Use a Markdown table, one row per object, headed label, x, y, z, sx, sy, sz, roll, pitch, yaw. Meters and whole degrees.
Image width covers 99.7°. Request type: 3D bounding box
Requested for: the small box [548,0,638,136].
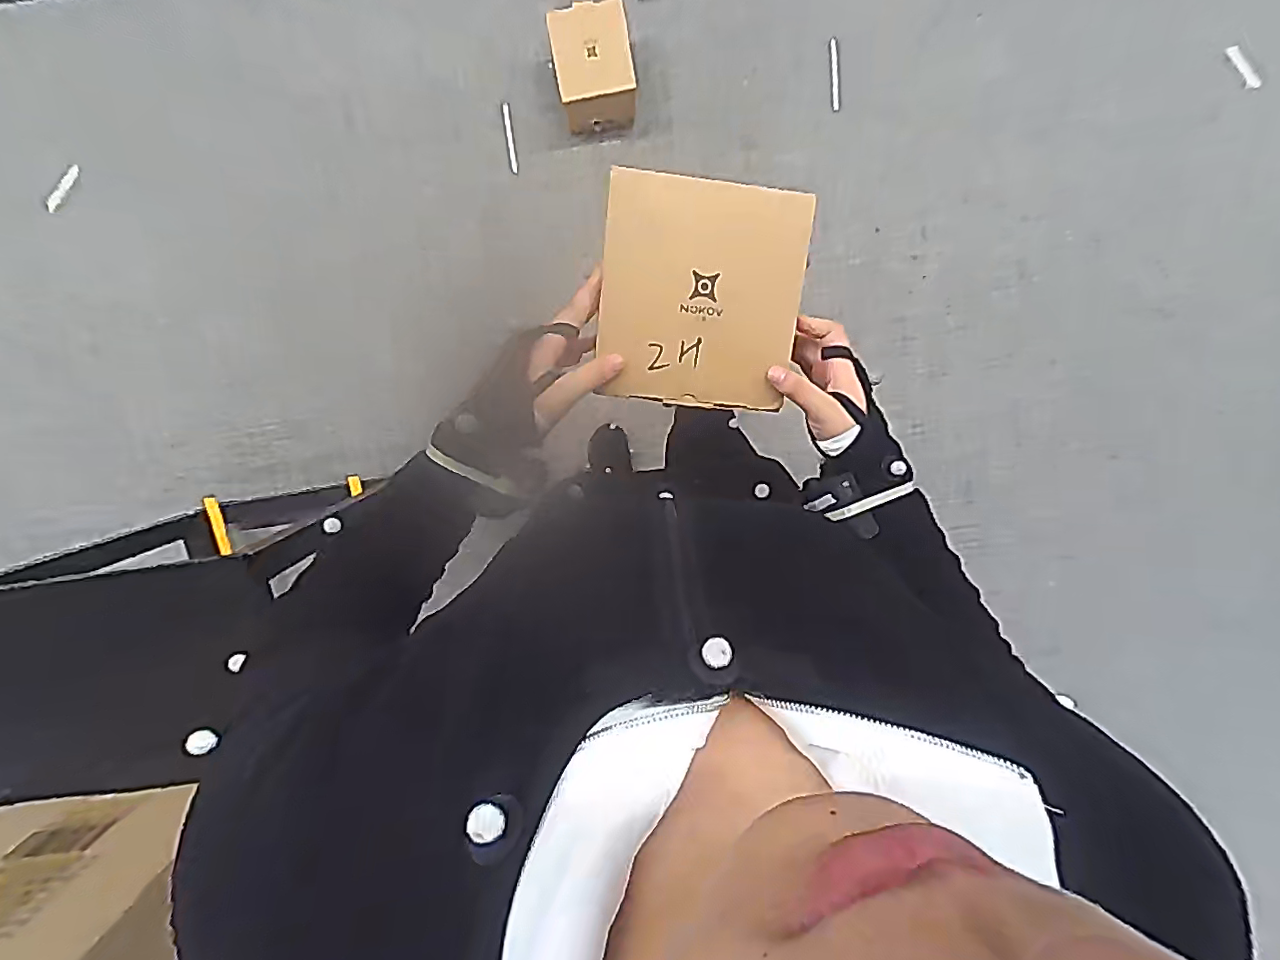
| label | x | y | z | sx | sy | sz | roll | pitch | yaw |
| --- | --- | --- | --- | --- | --- | --- | --- | --- | --- |
| small box | -0.101 | -0.916 | 1.218 | 0.168 | 0.176 | 0.179 | -11 | 102 | 2 |
